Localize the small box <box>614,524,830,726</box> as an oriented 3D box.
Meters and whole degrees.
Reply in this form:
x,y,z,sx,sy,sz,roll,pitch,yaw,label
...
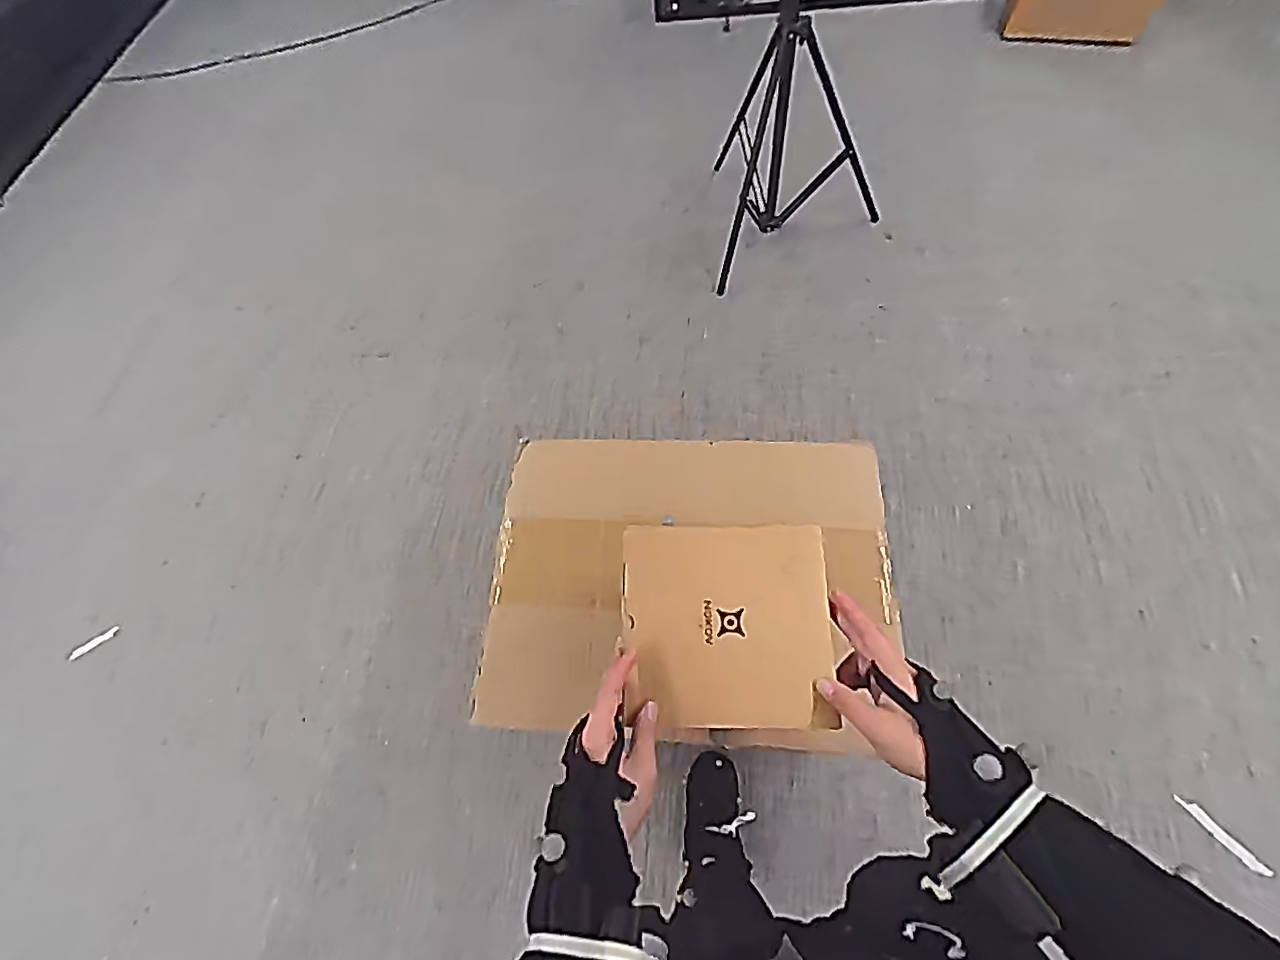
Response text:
x,y,z,sx,sy,sz,roll,pitch,yaw,label
0.073,0.139,0.534,0.179,0.176,0.168,-1,74,6,small box
